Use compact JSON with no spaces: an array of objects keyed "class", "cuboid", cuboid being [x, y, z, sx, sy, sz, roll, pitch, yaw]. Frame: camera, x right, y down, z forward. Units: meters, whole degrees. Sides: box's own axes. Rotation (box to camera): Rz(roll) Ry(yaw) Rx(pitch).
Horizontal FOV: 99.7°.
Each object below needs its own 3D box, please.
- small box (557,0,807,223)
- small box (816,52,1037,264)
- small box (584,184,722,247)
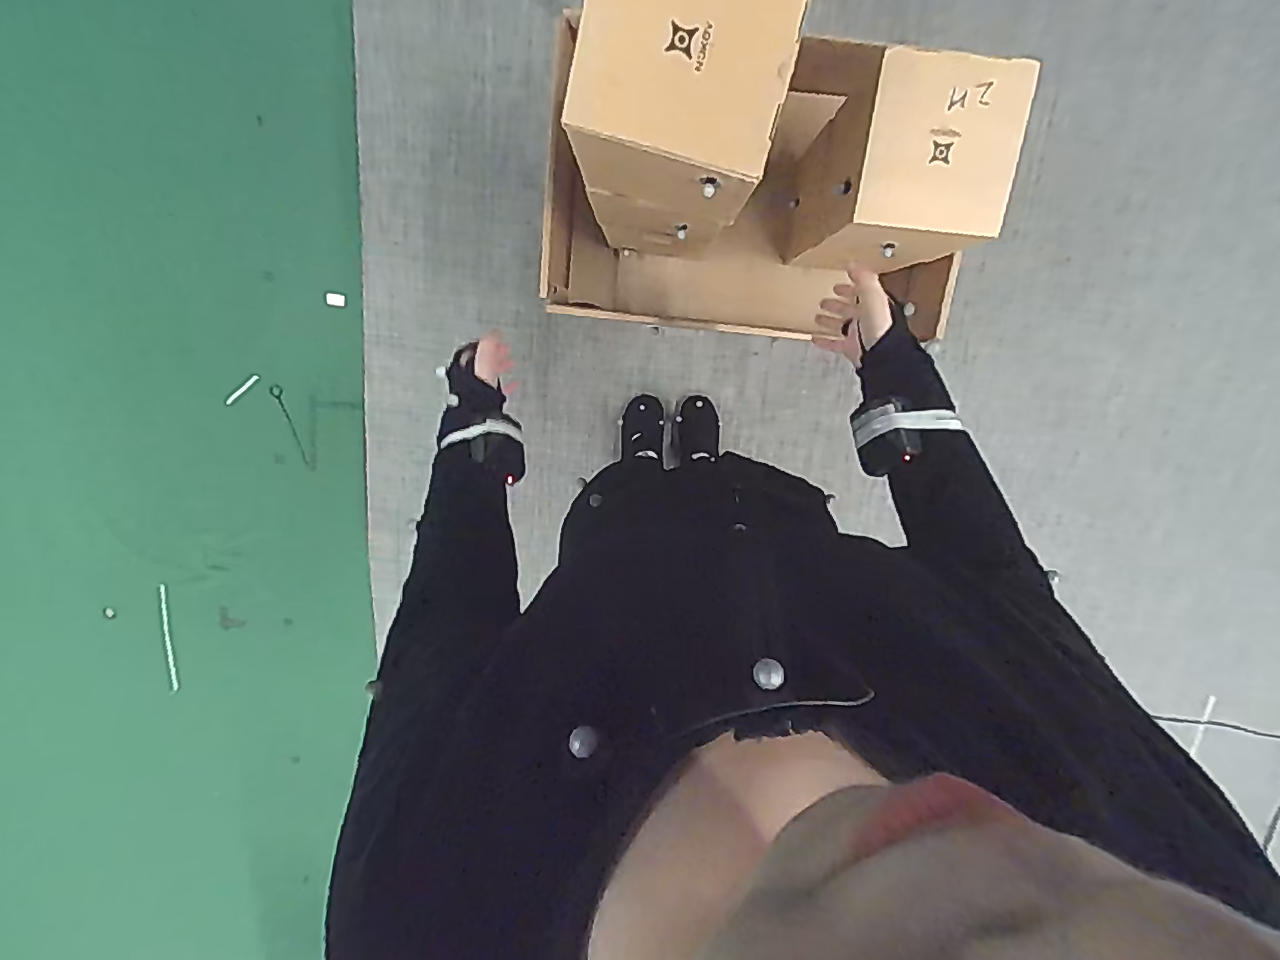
[{"class":"small box","cuboid":[0.035,-0.365,0.514,0.179,0.176,0.168,14,103,-3]},{"class":"small box","cuboid":[0.329,-0.374,0.663,0.168,0.176,0.179,7,103,1]},{"class":"small box","cuboid":[0.035,-0.406,0.672,0.168,0.176,0.179,11,102,-2]}]
